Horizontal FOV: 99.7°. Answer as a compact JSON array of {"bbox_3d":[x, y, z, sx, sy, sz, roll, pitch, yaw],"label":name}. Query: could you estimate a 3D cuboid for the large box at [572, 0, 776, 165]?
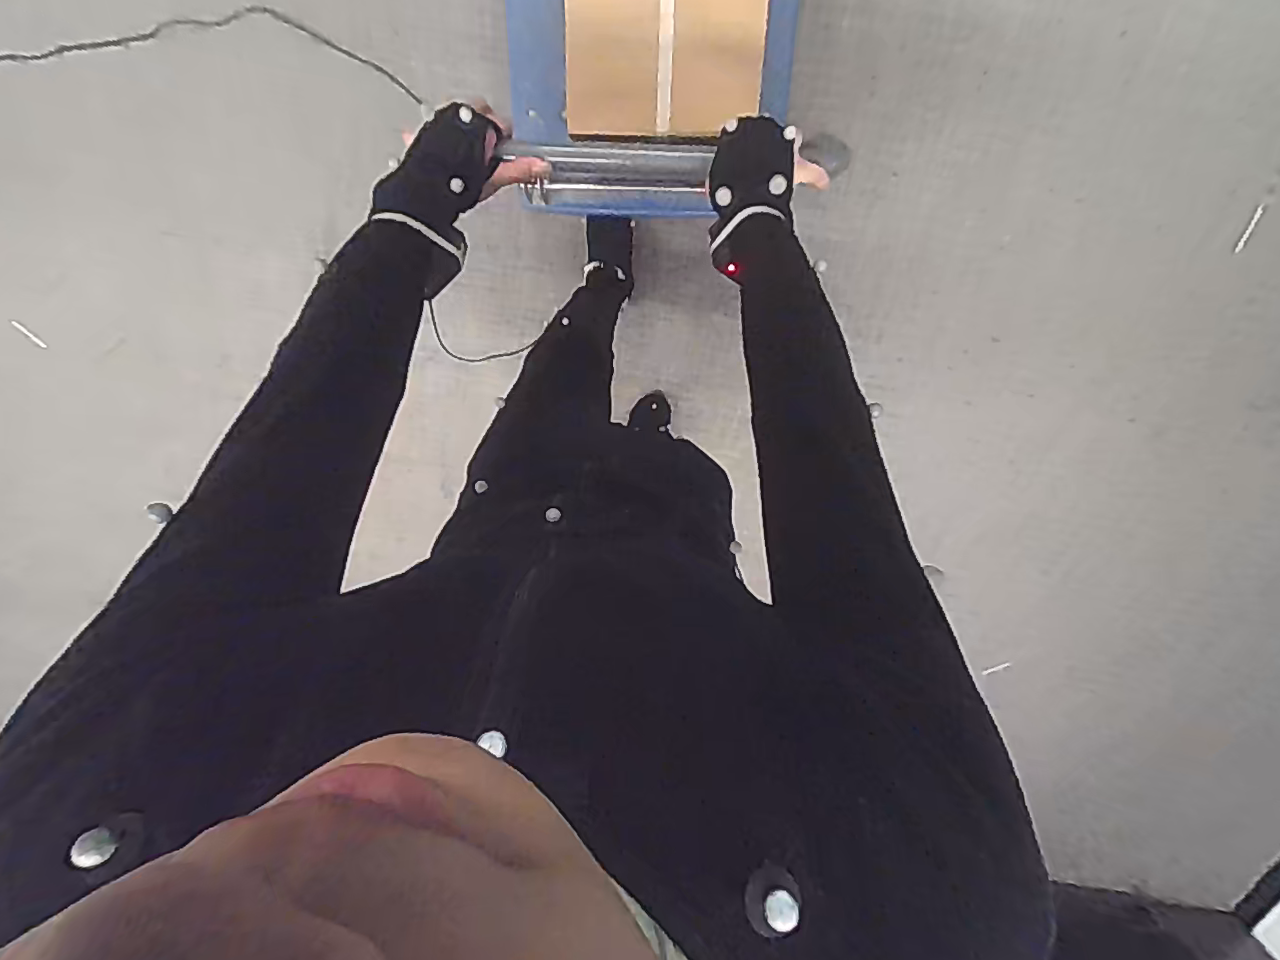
[{"bbox_3d":[0.058,-0.803,0.946,0.320,0.320,0.408,2,111,1],"label":"large box"}]
